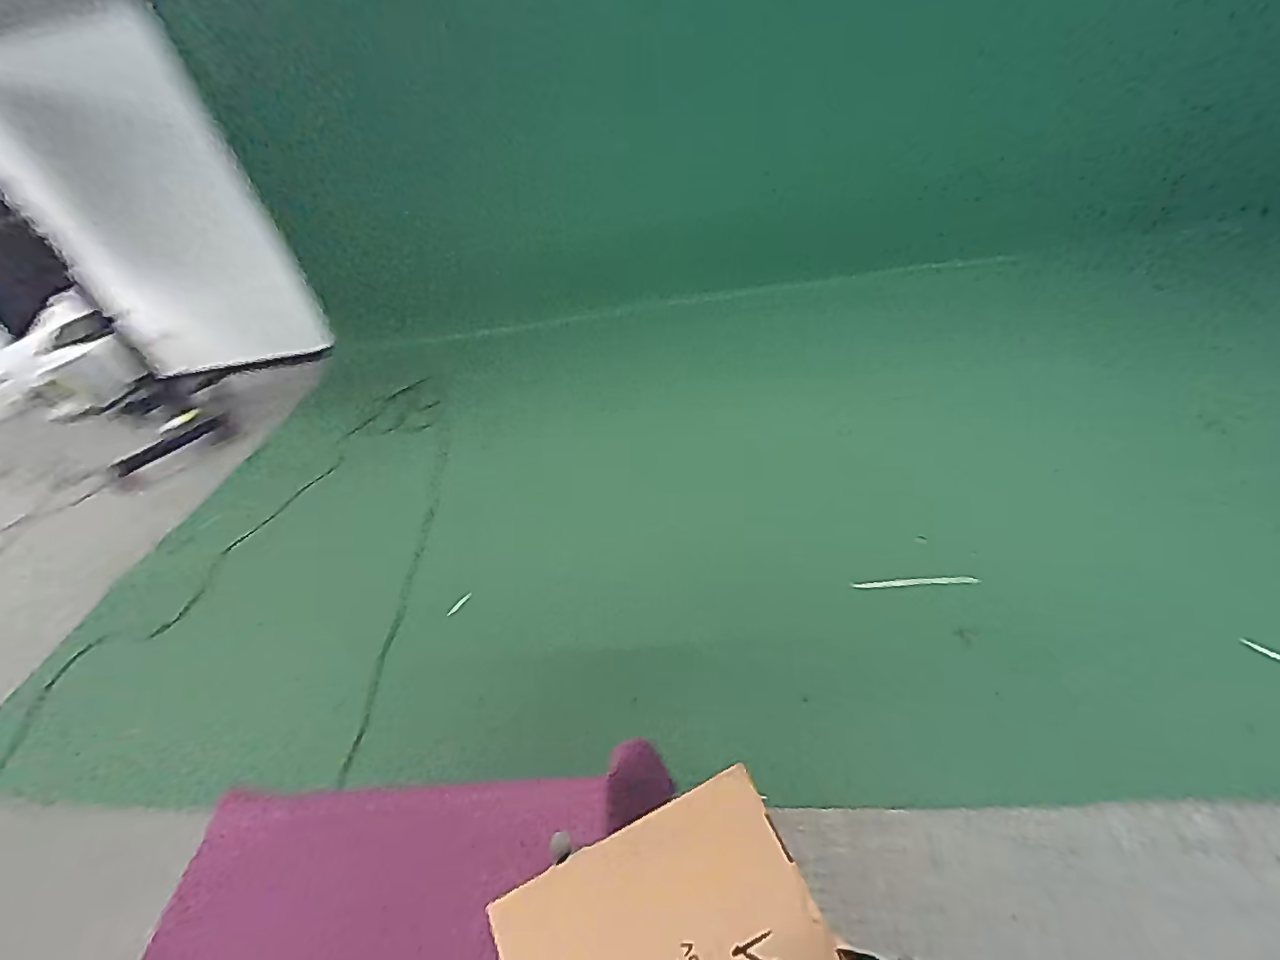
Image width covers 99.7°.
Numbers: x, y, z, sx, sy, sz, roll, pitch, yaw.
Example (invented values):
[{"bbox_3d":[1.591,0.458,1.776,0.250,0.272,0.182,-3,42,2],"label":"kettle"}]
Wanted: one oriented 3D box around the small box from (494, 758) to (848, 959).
[{"bbox_3d":[0.026,0.315,0.362,0.179,0.176,0.168,-21,60,-13],"label":"small box"}]
